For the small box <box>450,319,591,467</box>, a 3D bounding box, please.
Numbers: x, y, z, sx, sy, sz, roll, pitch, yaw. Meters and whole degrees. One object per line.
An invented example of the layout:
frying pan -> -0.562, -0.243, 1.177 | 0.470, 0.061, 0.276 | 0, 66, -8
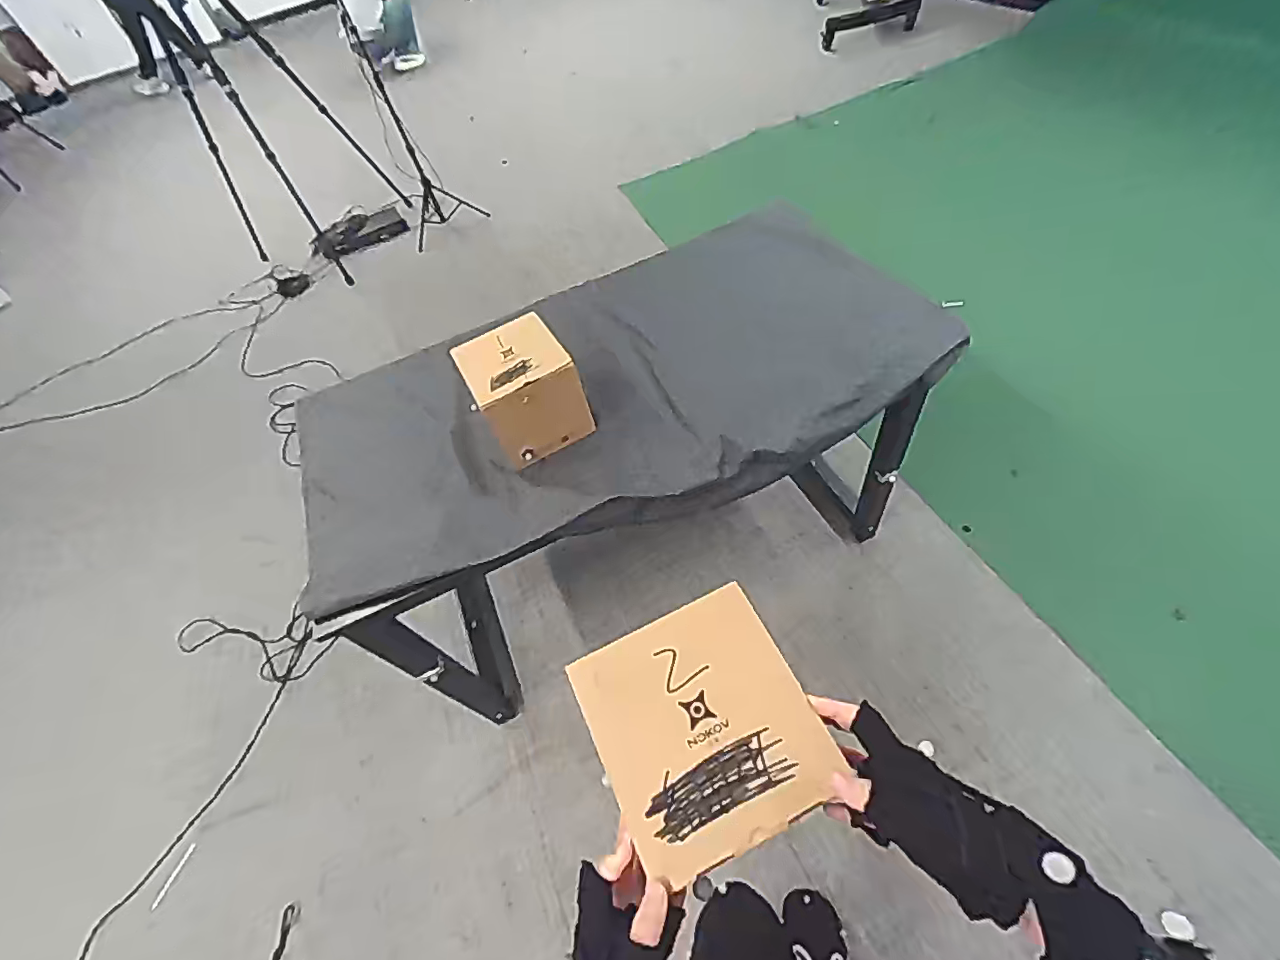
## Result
small box -> -0.205, -0.145, 0.960 | 0.168, 0.176, 0.179 | -28, 53, -10
